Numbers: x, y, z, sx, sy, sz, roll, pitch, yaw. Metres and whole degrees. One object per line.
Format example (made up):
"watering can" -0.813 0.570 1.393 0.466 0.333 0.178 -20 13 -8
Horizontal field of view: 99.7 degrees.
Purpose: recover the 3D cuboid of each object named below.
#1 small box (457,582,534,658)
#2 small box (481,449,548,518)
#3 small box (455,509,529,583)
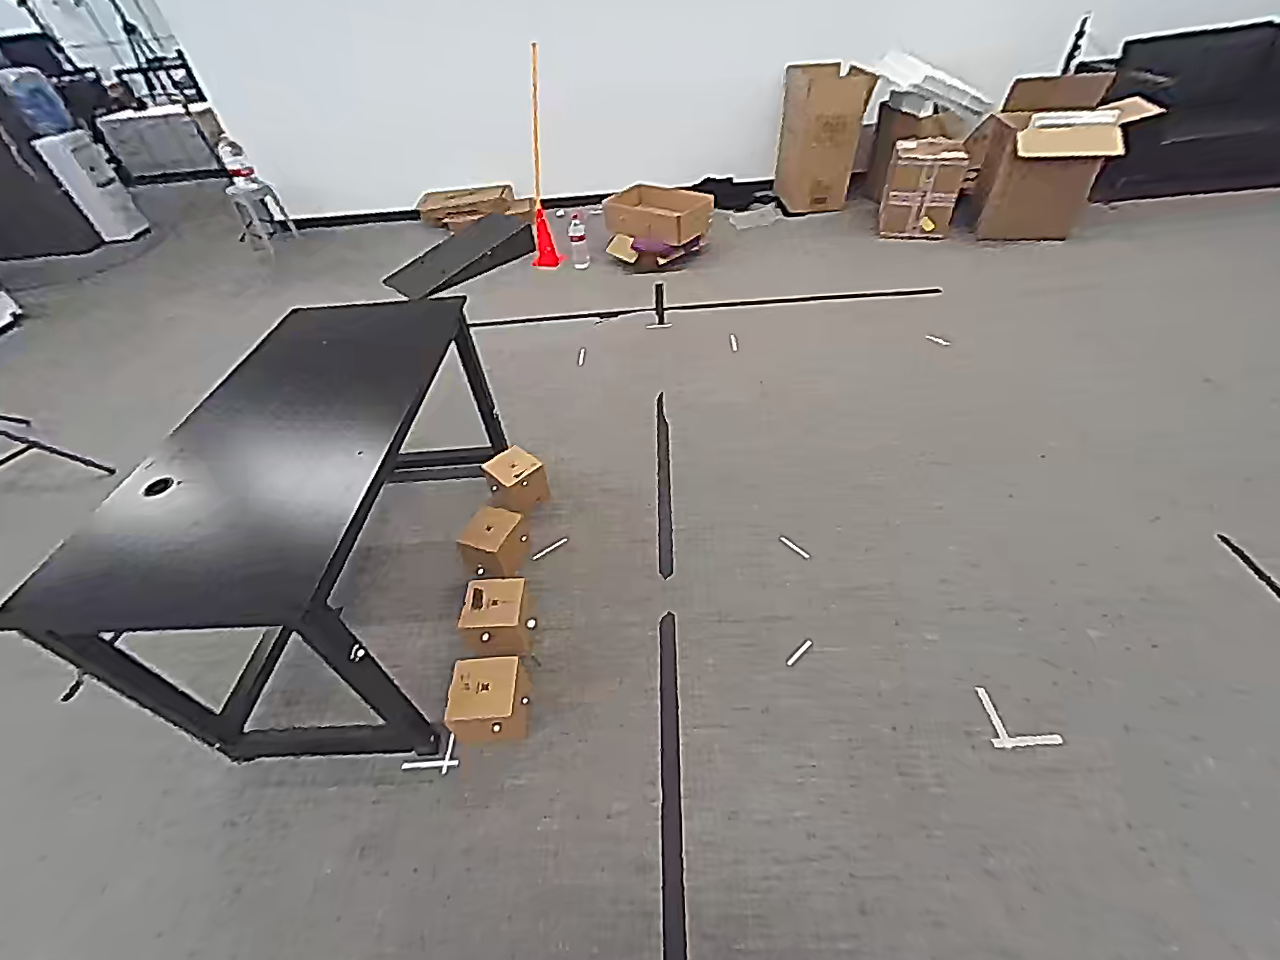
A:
"small box" -0.436 0.433 1.661 0.179 0.176 0.168 -3 45 1
"small box" -0.481 0.017 2.089 0.179 0.176 0.168 31 56 32
"small box" -0.503 0.232 1.876 0.168 0.176 0.179 11 48 18
